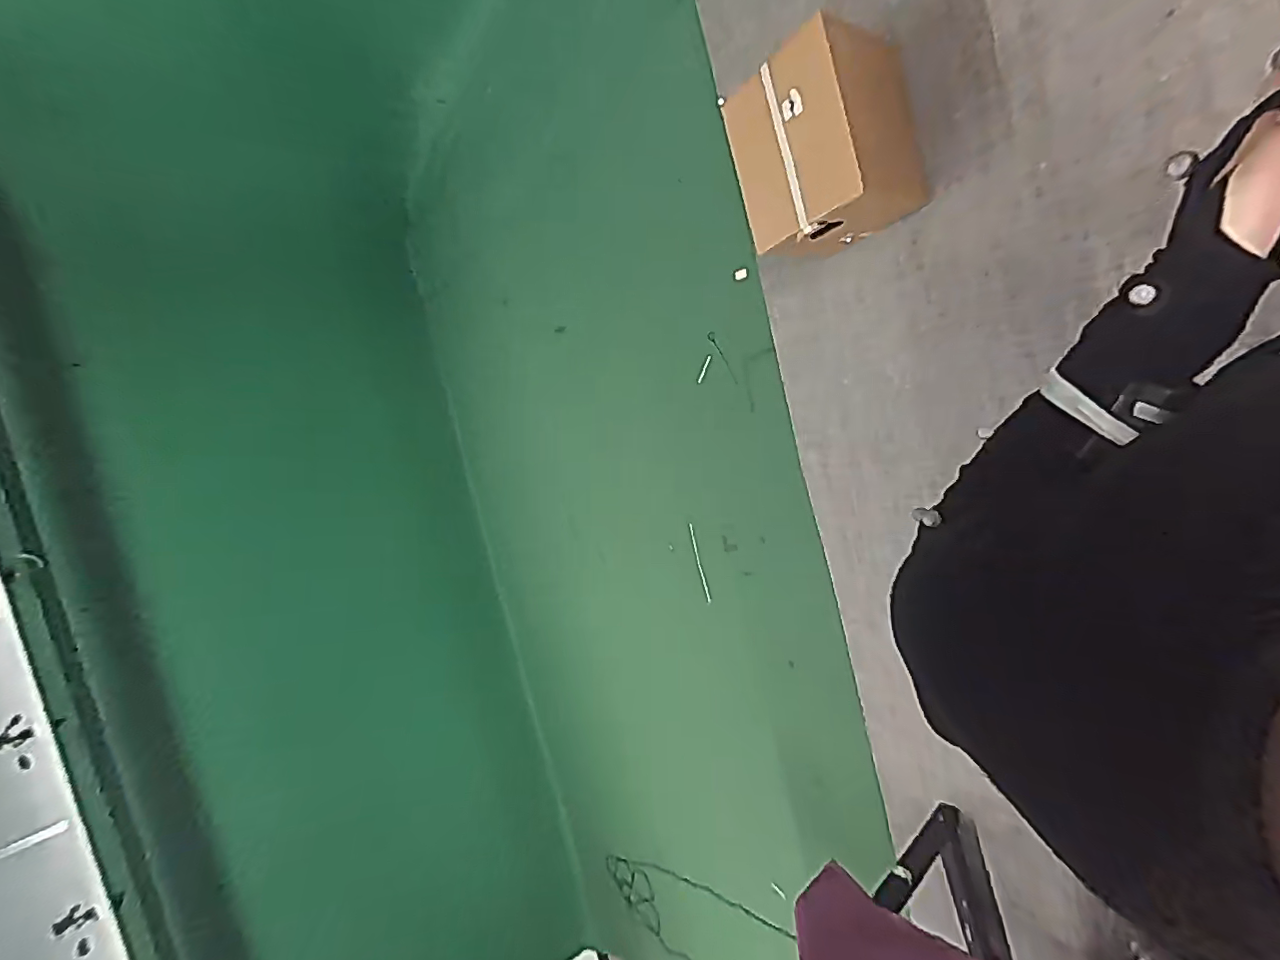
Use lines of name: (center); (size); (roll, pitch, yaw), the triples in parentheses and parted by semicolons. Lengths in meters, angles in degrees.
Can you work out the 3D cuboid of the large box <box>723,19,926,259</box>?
large box: (0.470, -0.829, 1.386); (0.320, 0.320, 0.408); (-11, 93, 54)
